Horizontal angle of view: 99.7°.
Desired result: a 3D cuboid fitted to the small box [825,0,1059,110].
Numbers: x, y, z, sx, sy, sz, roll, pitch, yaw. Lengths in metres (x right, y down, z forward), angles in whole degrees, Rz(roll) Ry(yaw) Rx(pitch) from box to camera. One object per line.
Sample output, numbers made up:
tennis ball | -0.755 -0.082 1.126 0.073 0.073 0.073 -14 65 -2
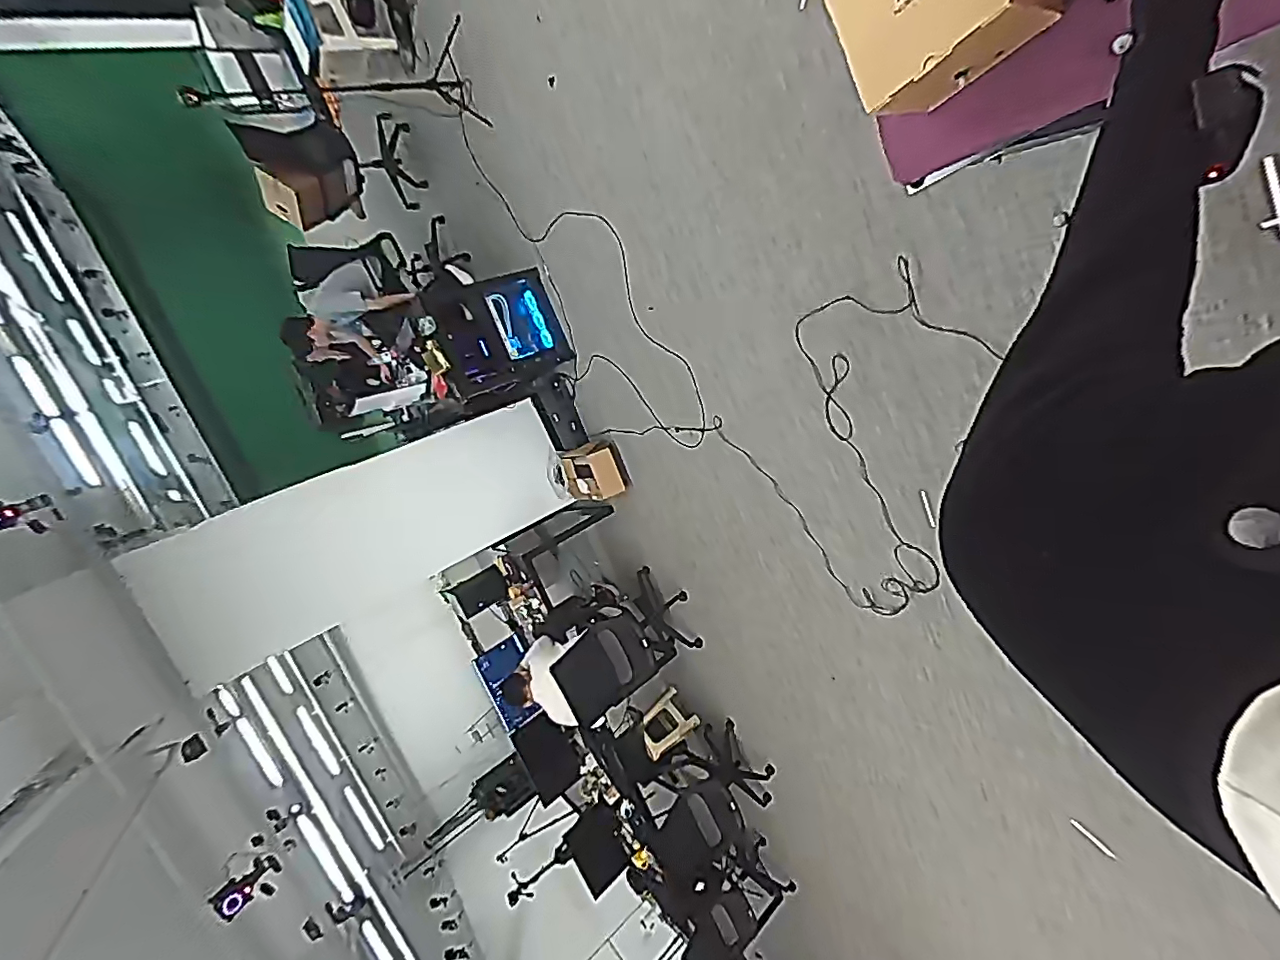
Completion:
small box | 0.348 -0.574 0.633 0.168 0.176 0.179 -14 103 57
